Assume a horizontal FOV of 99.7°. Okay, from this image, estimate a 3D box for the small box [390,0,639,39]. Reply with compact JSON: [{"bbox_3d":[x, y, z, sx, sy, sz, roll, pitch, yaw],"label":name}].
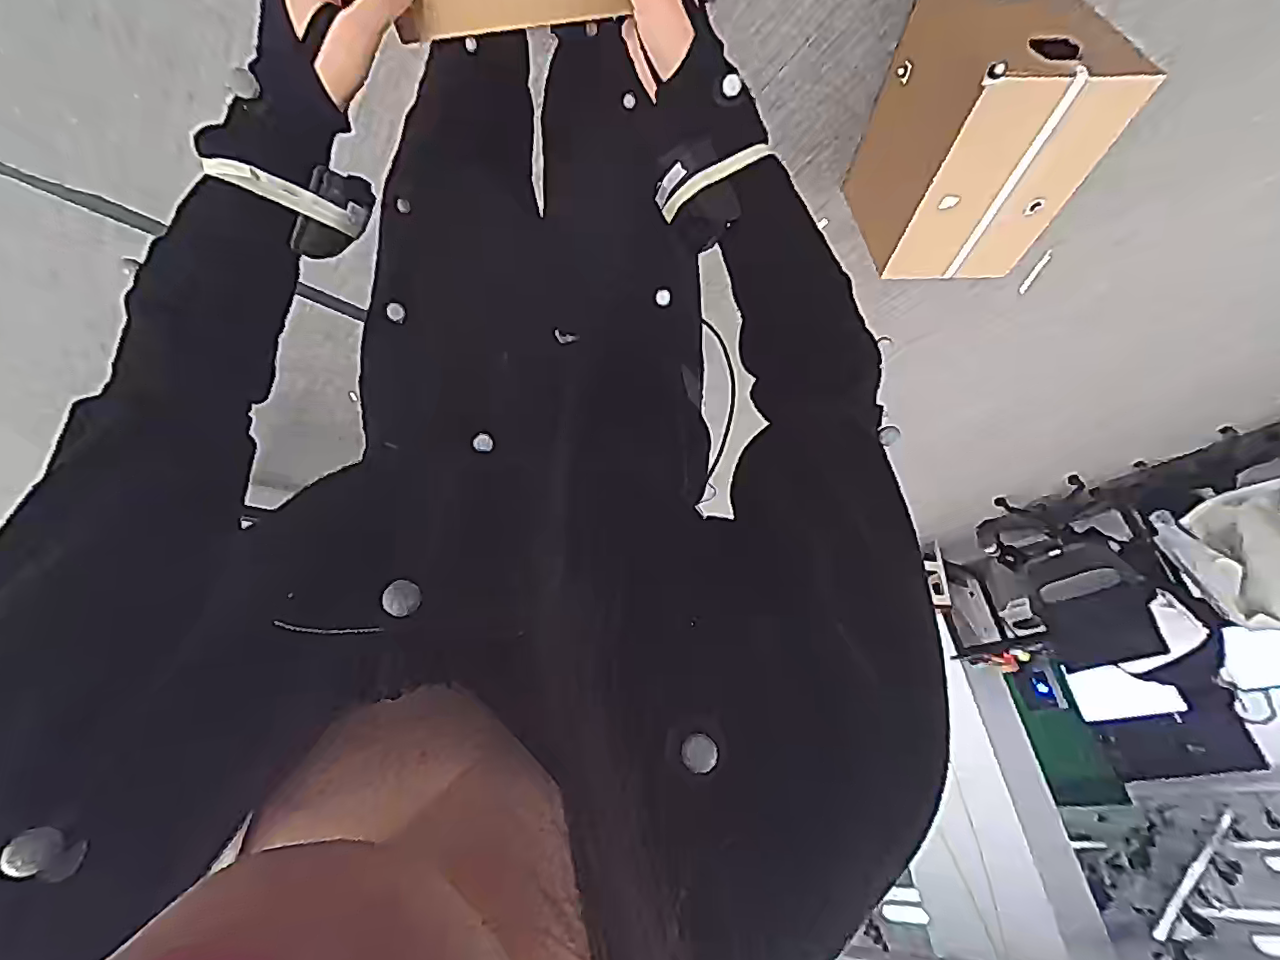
[{"bbox_3d":[-0.096,-0.422,0.340,0.168,0.176,0.179,-8,148,-1],"label":"small box"}]
